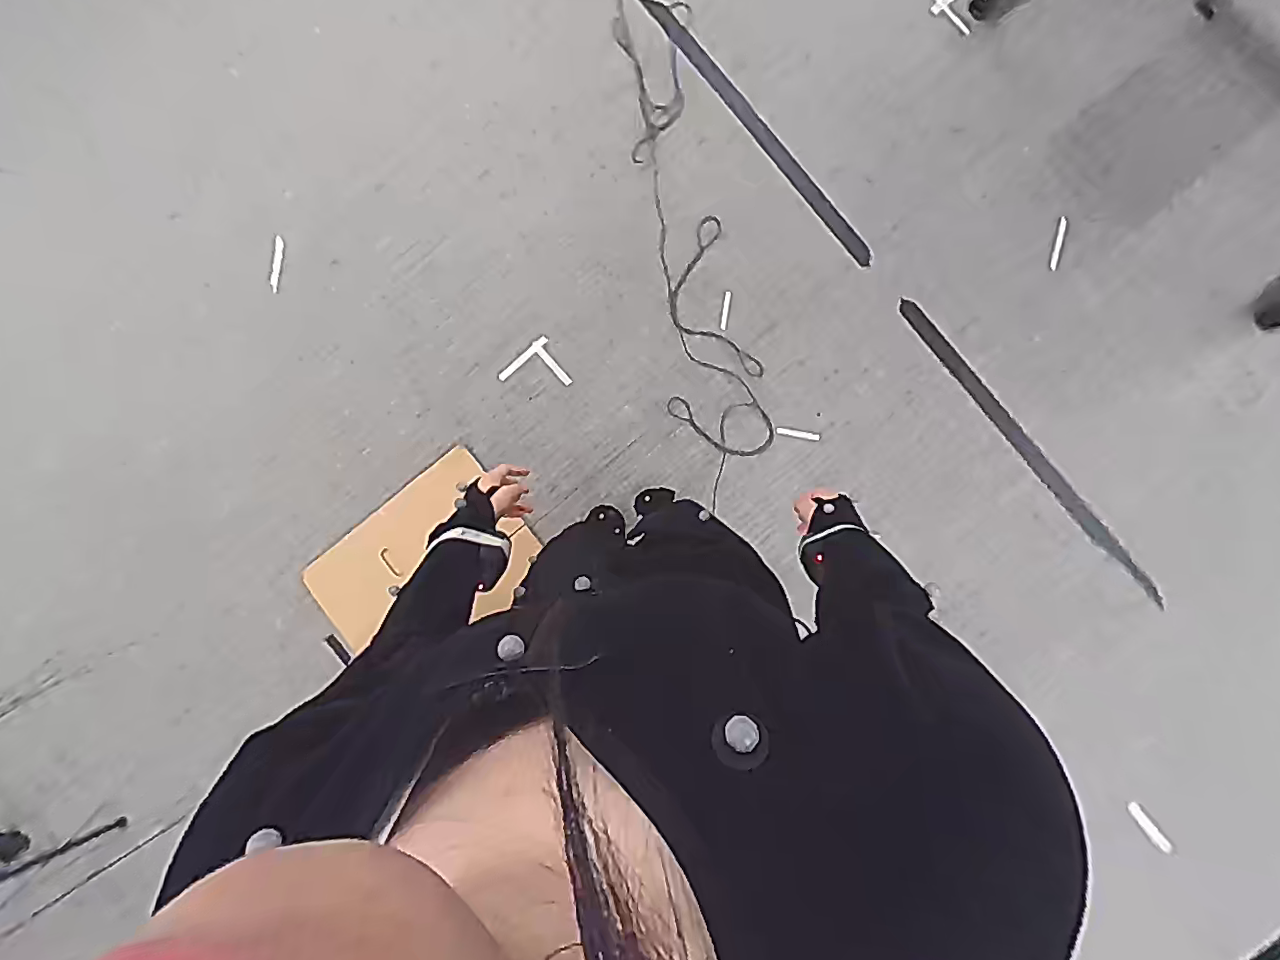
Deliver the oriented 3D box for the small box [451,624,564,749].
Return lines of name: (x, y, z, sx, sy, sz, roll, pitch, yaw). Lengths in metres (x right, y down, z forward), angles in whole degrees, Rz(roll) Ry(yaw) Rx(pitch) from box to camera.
small box: (-0.293, 0.464, 1.243, 0.168, 0.176, 0.179, 38, 91, 1)
